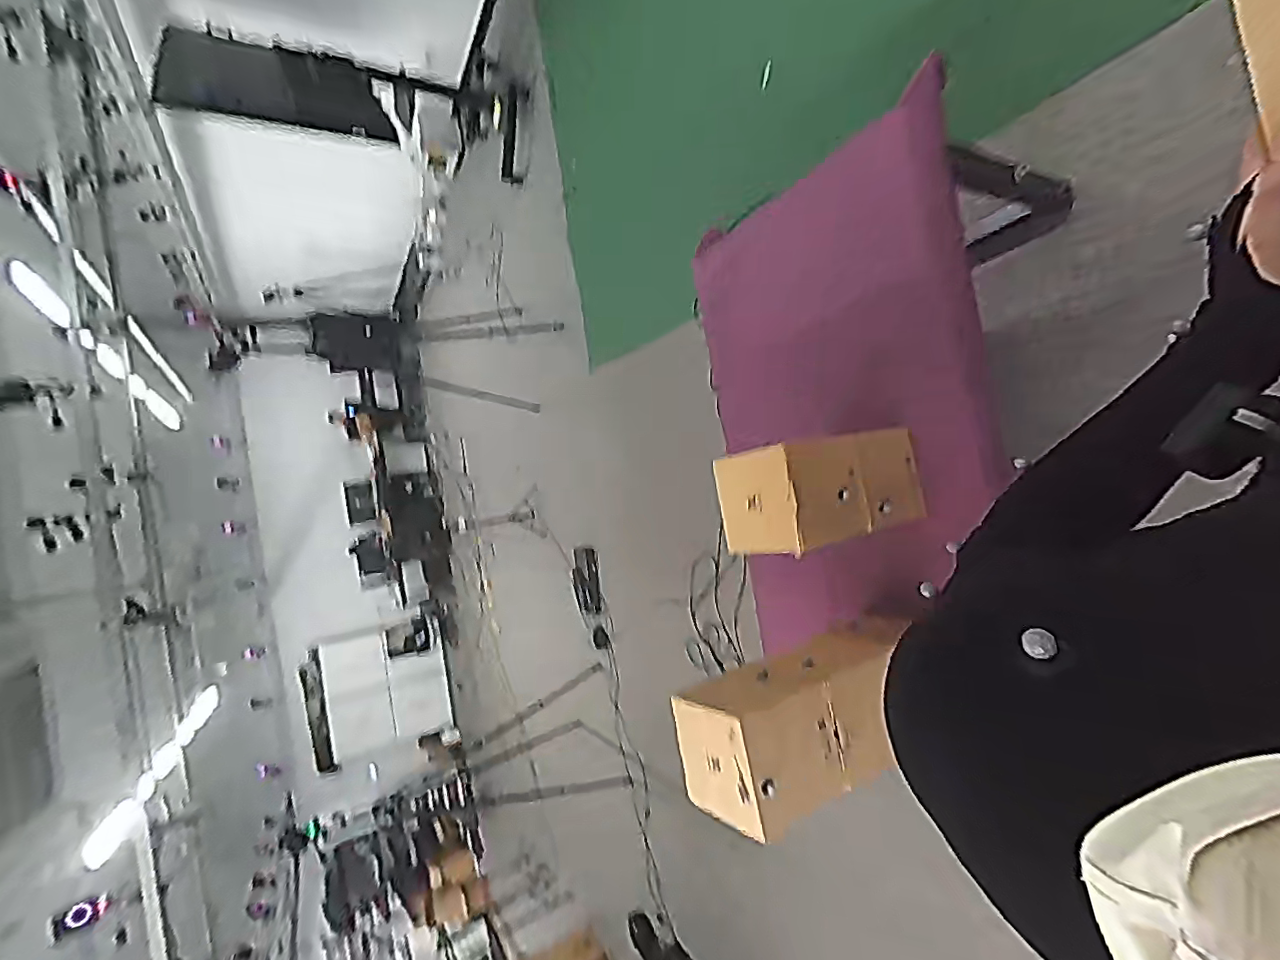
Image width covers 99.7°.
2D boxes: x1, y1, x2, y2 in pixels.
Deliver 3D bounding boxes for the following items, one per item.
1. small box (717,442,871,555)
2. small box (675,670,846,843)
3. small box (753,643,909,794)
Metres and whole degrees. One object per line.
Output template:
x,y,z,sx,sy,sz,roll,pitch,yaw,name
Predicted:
0.261,0.034,0.930,0.179,0.176,0.168,-17,83,58,small box
0.181,0.405,0.831,0.179,0.176,0.168,-19,82,59,small box
0.323,0.384,0.909,0.179,0.176,0.168,-18,82,60,small box
